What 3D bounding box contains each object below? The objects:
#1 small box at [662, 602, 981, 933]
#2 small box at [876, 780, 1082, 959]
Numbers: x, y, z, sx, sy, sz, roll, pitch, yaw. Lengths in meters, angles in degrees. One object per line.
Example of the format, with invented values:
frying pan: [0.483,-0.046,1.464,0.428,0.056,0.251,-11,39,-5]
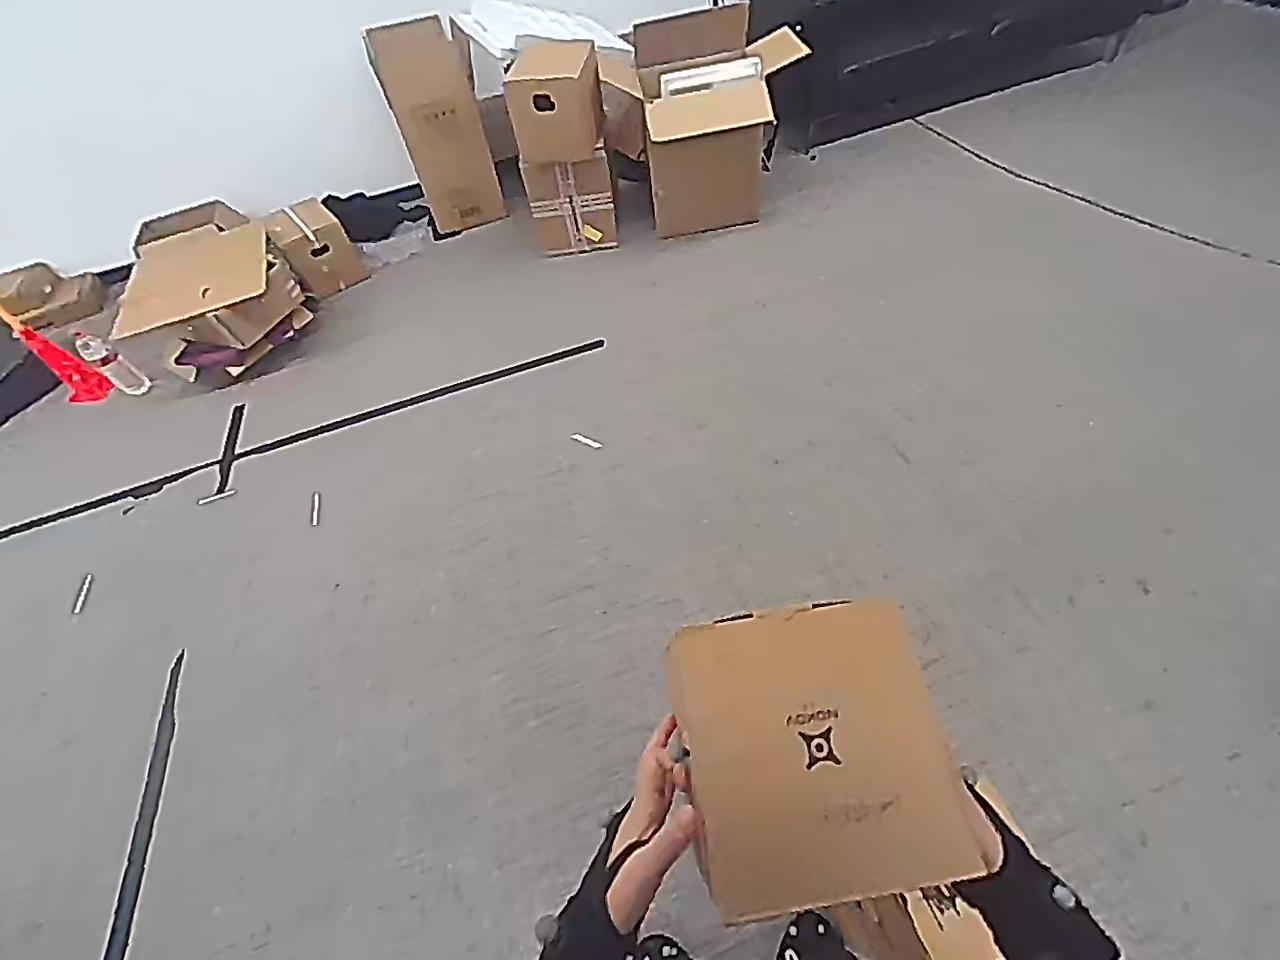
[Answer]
small box: [0.112,0.209,0.425,0.168,0.176,0.179,-8,66,-4]
small box: [0.394,0.517,0.698,0.179,0.176,0.168,-17,52,-6]
